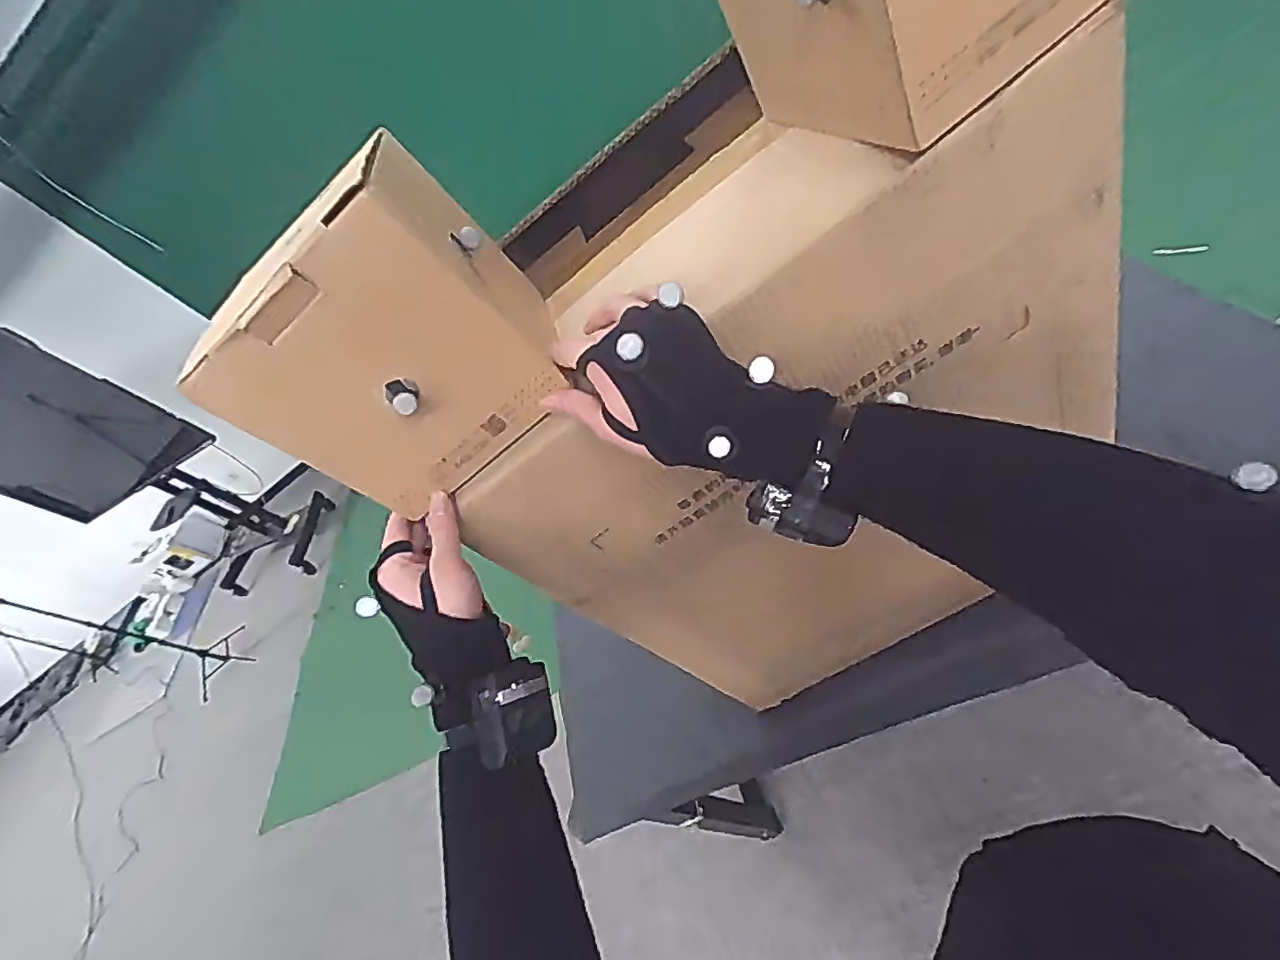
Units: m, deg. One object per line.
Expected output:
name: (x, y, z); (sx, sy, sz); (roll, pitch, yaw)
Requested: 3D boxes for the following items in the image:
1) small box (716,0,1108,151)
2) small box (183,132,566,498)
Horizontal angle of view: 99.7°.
small box: (0.145, -0.317, 0.296); (0.168, 0.176, 0.179); (-37, 41, 8)
small box: (-0.175, -0.109, 0.401); (0.168, 0.176, 0.179); (-37, 43, 12)
